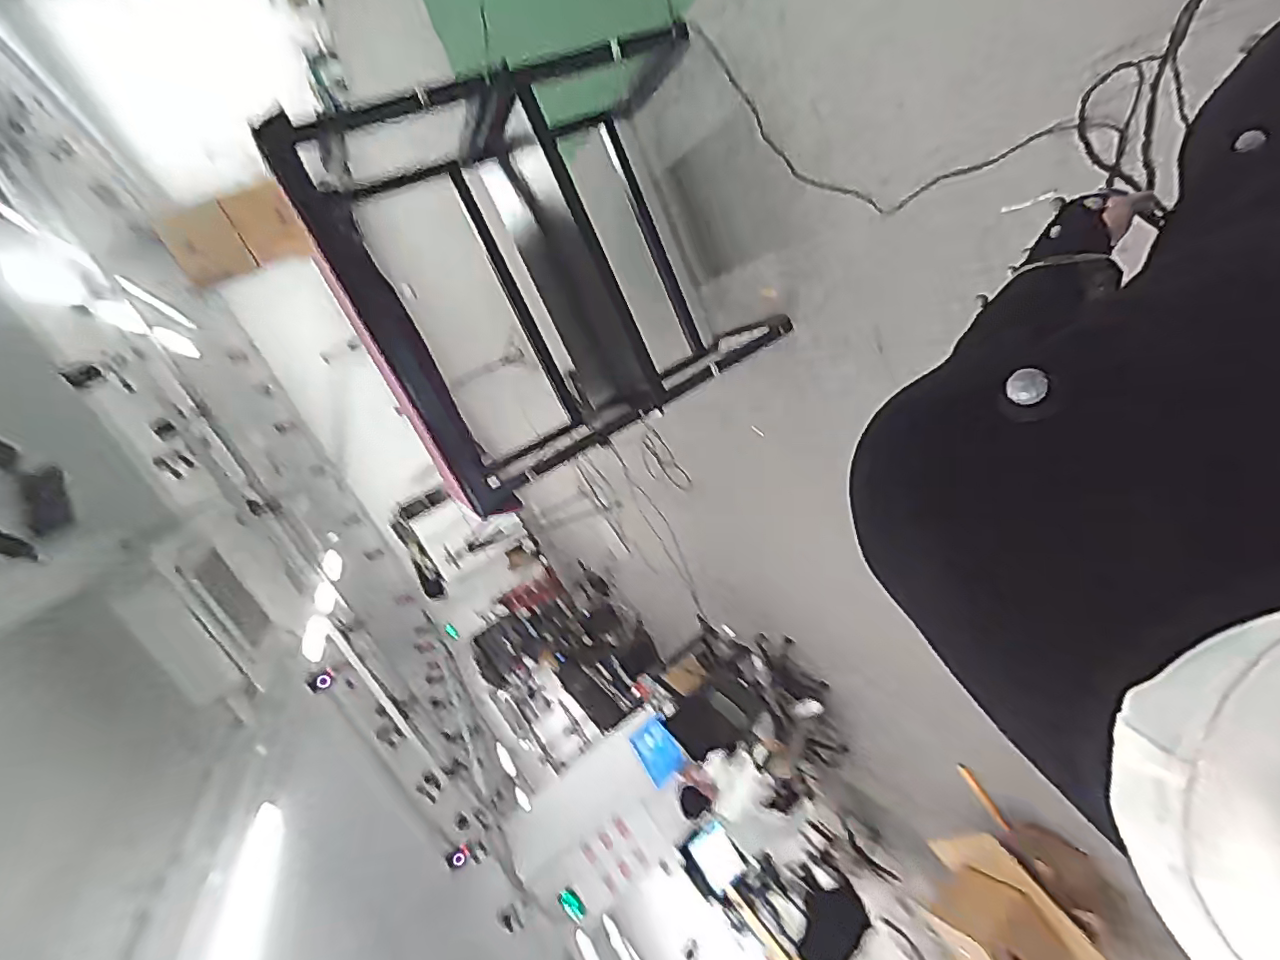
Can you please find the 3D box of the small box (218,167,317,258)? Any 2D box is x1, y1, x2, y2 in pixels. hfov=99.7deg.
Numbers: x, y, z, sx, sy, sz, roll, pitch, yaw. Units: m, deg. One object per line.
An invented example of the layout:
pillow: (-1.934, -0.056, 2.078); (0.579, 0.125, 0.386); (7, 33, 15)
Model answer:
small box: (-1.057, -0.764, 1.553); (0.179, 0.176, 0.168); (11, 129, 62)

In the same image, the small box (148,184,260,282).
small box: (-1.182, -0.677, 1.489); (0.168, 0.176, 0.179); (10, 129, 62)
